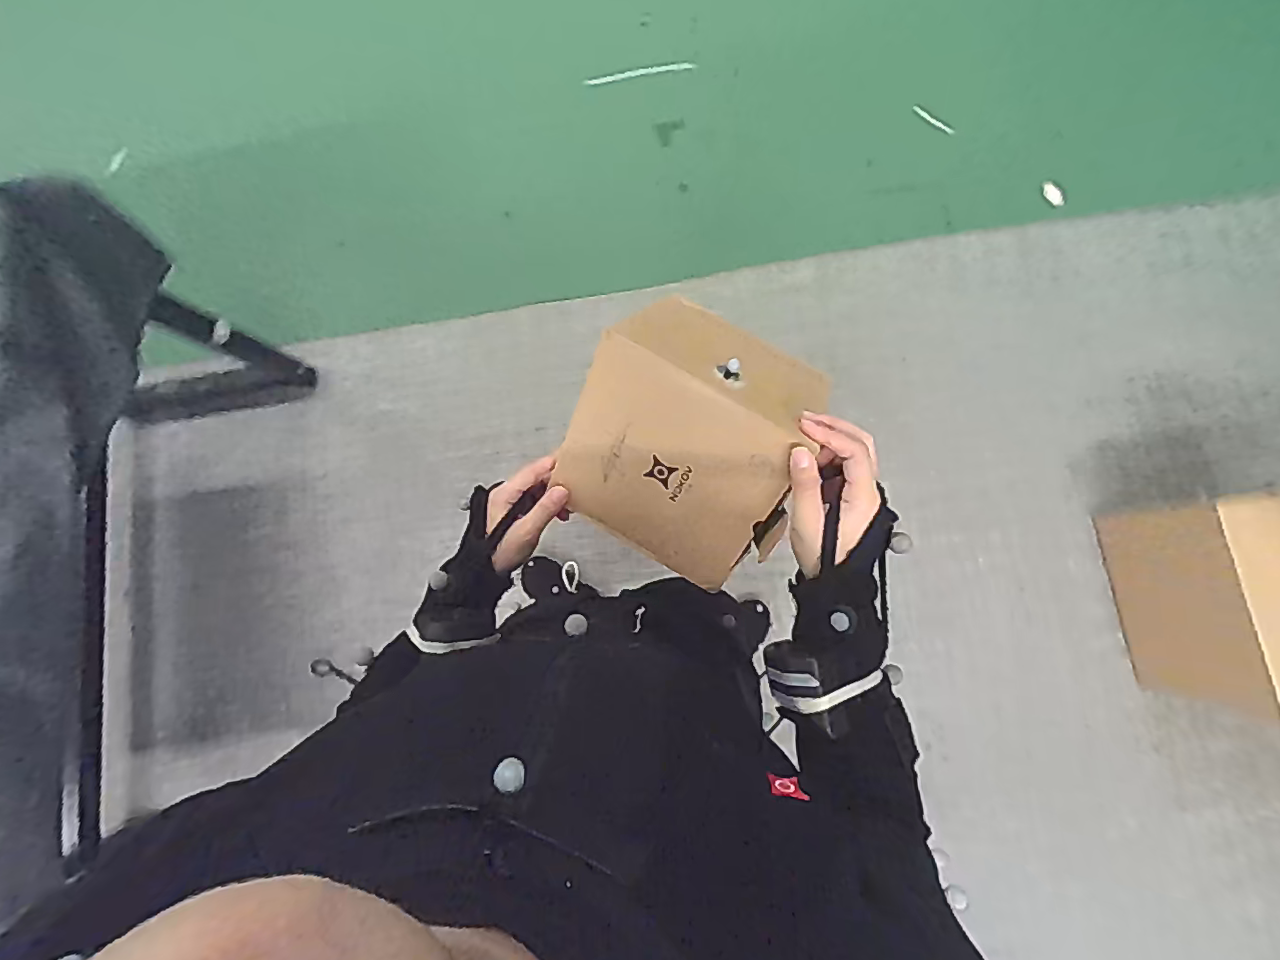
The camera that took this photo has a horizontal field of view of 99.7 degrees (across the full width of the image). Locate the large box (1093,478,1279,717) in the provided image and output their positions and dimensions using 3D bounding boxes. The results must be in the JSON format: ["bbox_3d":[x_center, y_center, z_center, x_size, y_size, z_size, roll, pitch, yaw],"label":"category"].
[{"bbox_3d":[1.249,0.218,1.111,0.320,0.320,0.408,-10,82,4],"label":"large box"}]
